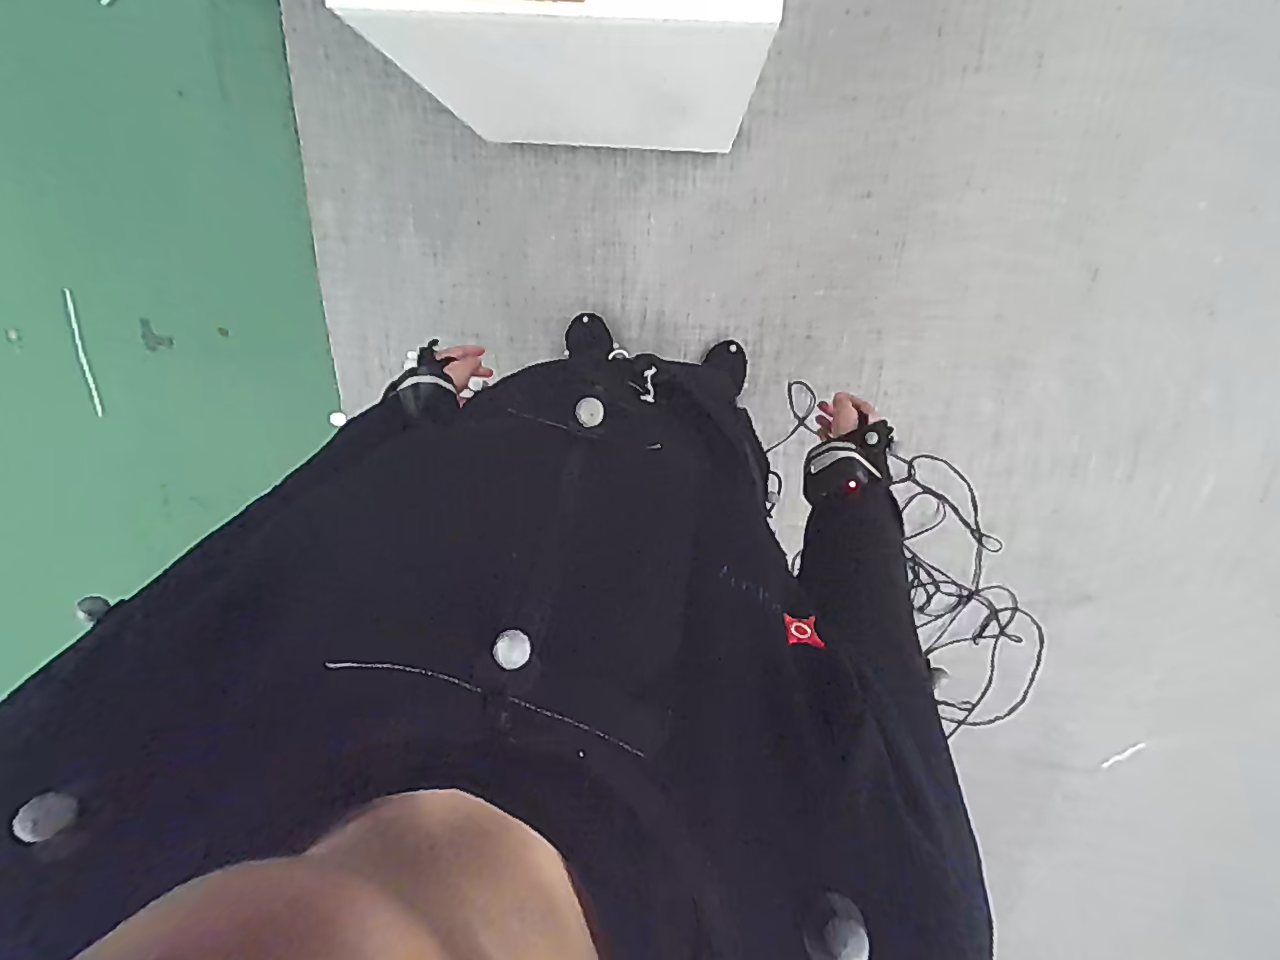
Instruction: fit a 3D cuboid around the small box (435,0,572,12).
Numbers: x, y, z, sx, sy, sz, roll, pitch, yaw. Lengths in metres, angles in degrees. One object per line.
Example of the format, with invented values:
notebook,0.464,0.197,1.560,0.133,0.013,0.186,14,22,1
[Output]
small box,-0.142,-0.570,0.494,0.179,0.176,0.168,4,106,3
